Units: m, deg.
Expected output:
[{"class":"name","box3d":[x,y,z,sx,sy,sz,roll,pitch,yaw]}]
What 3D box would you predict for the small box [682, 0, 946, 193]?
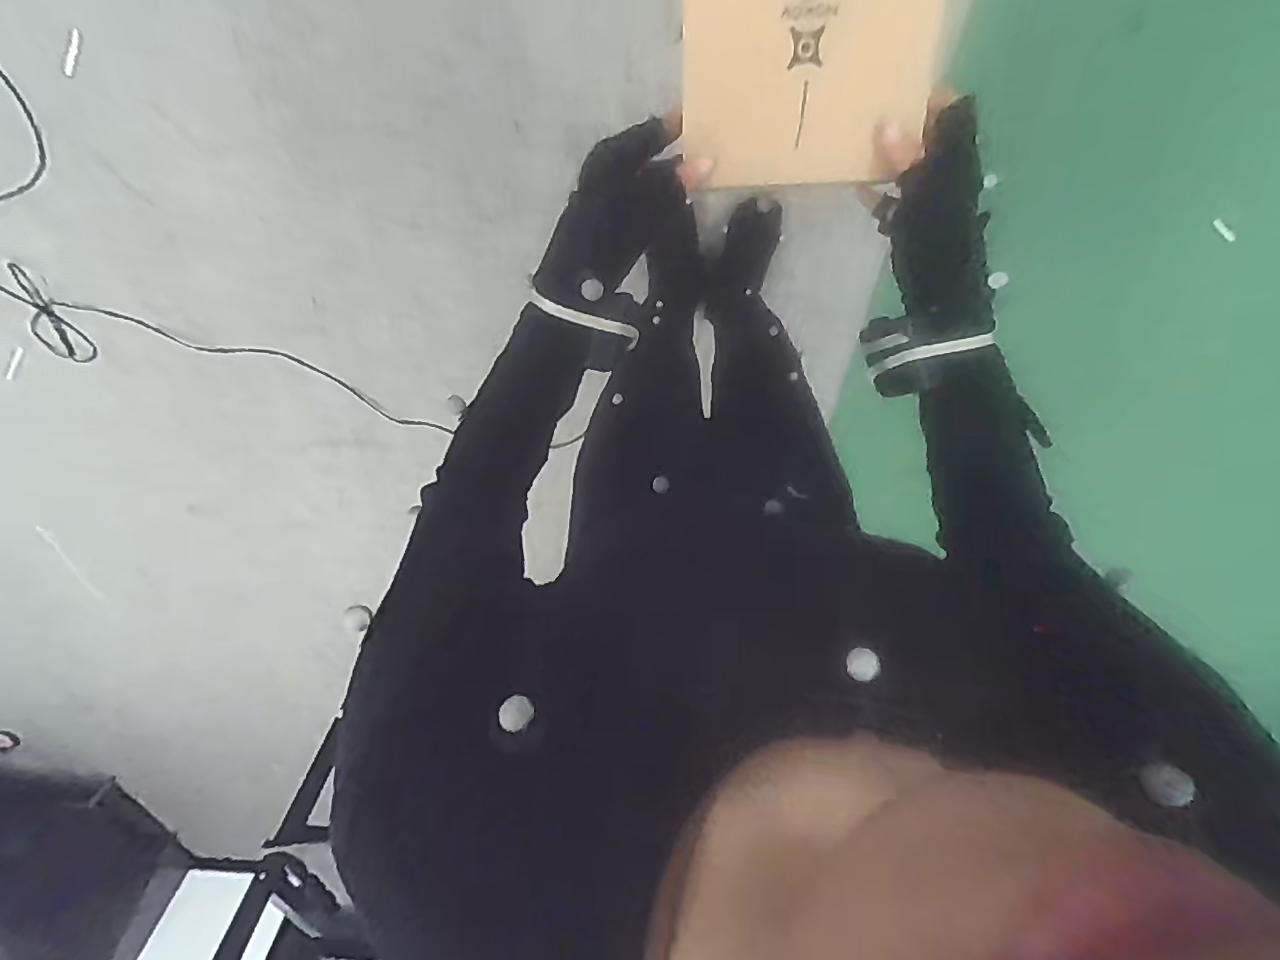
[{"class":"small box","box3d":[0.118,-0.329,0.425,0.168,0.176,0.179,0,117,4]}]
